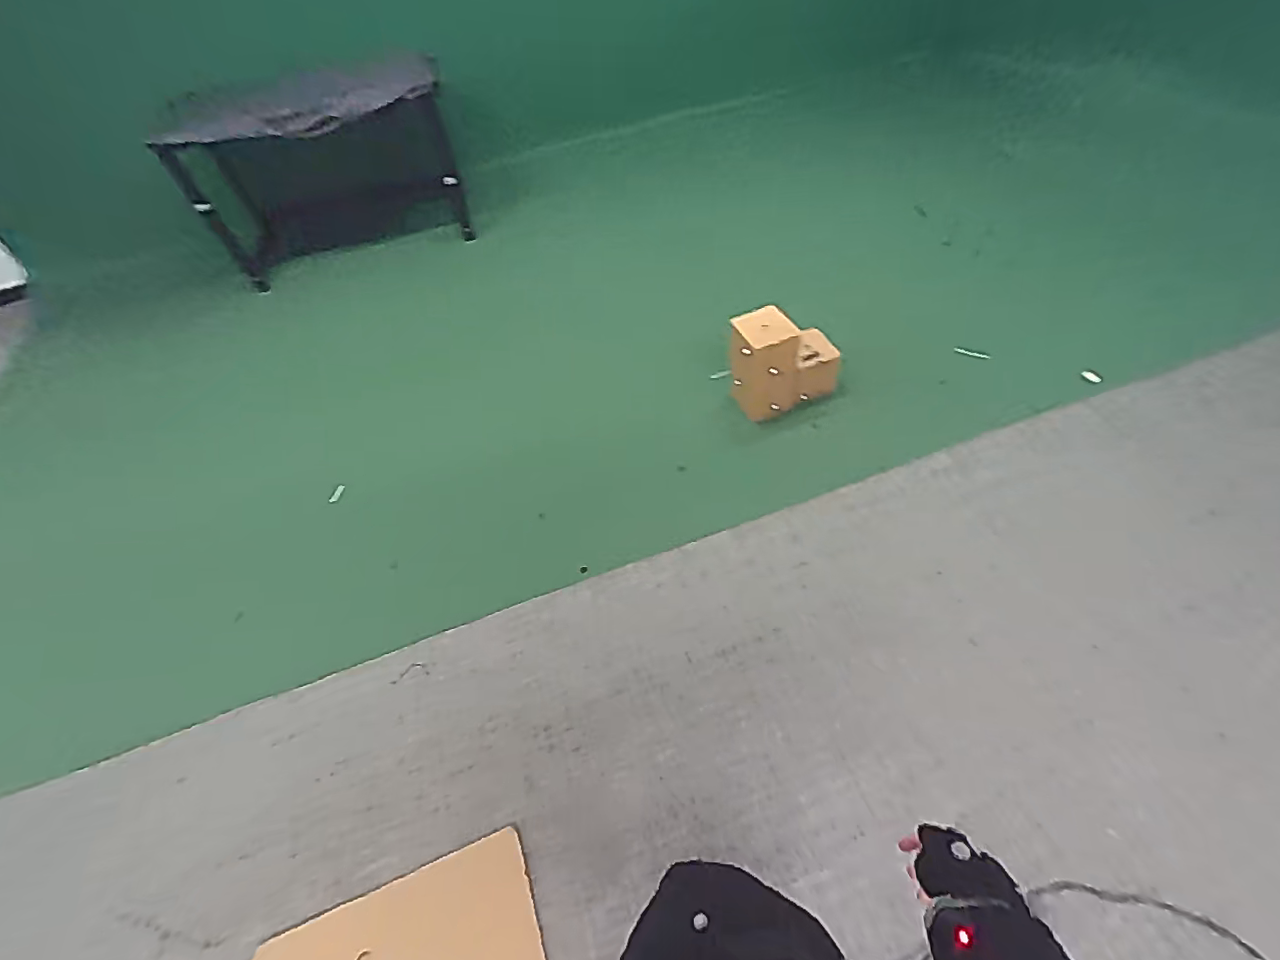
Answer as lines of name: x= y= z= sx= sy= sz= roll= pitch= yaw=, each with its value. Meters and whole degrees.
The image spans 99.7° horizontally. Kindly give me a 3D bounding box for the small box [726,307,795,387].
small box: x=0.394 y=-0.443 z=1.809 sx=0.168 sy=0.176 sz=0.179 roll=-22 pitch=53 yaw=-9
